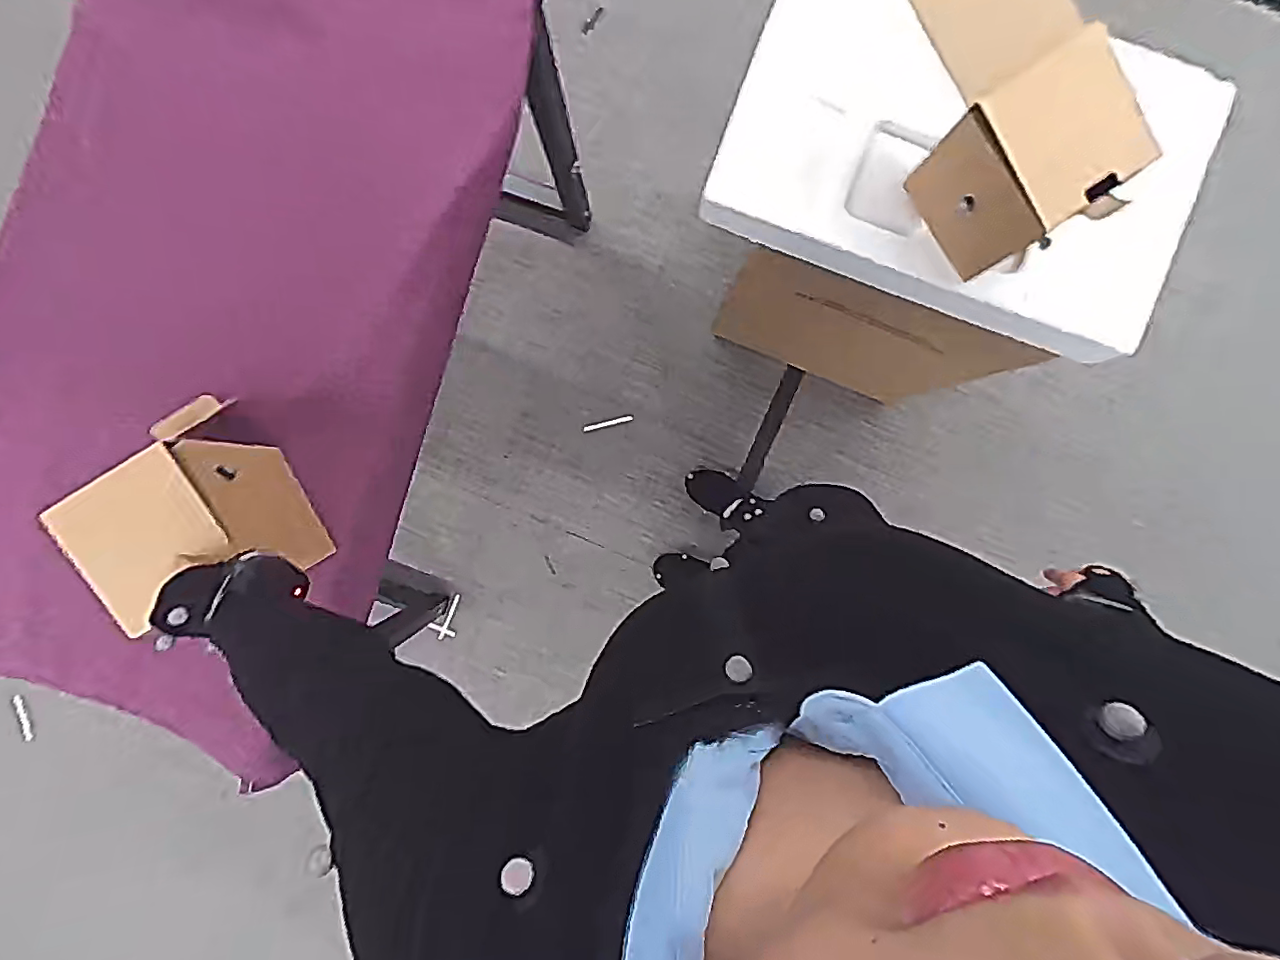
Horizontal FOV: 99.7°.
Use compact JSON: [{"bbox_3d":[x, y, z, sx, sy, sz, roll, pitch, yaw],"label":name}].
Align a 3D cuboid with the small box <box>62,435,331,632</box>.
[{"bbox_3d":[-0.551,0.063,0.698,0.168,0.176,0.179,-30,89,2],"label":"small box"}]
